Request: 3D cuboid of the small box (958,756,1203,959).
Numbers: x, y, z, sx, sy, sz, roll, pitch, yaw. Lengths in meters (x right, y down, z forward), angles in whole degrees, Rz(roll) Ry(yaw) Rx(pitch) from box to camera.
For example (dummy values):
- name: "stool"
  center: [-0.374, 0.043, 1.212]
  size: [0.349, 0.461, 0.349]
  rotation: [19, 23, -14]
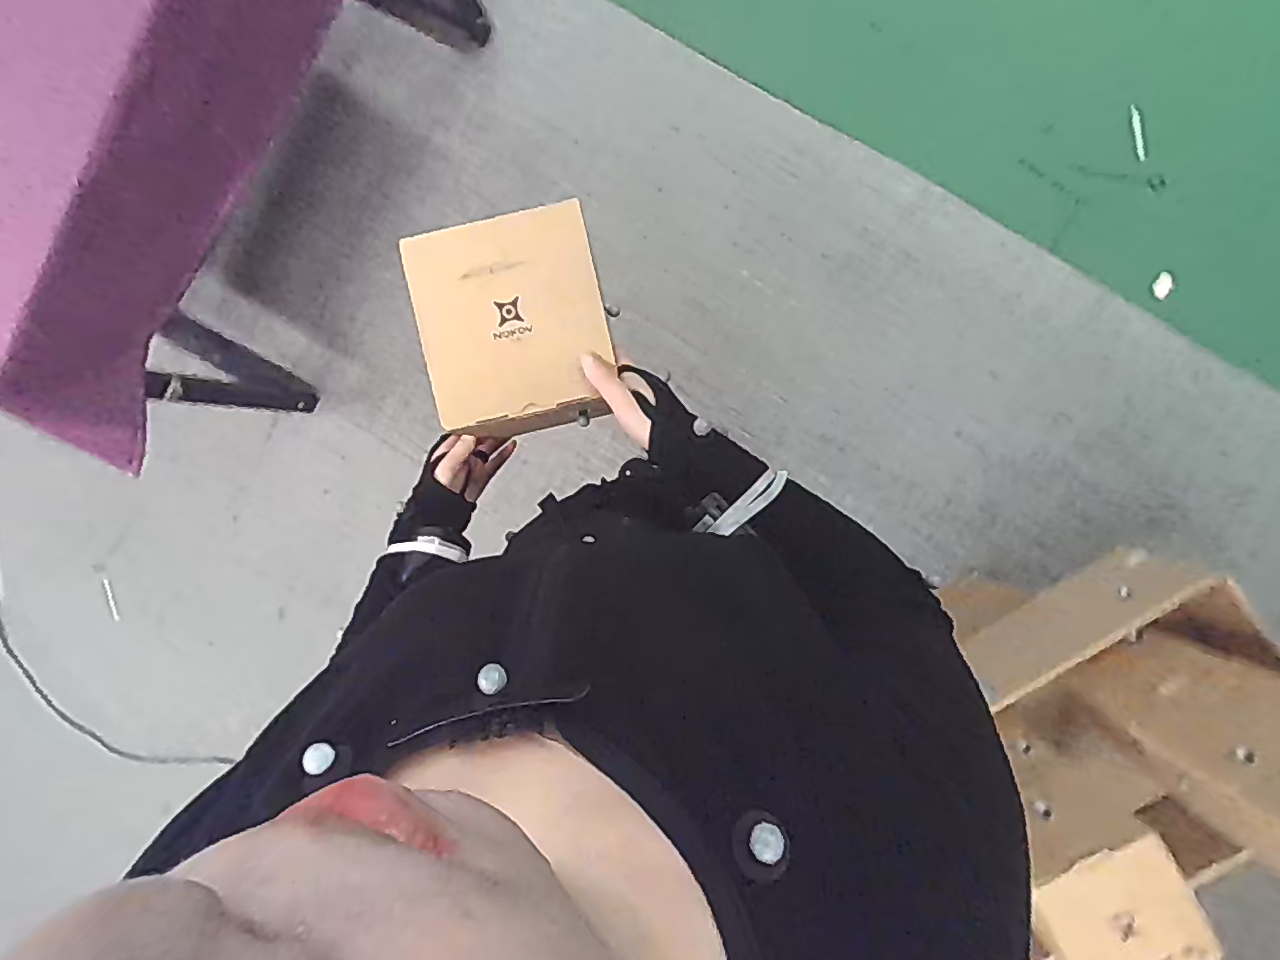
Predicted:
- name: "small box"
  center: [0.588, 0.519, 0.751]
  size: [0.168, 0.176, 0.179]
  rotation: [-29, 90, 6]

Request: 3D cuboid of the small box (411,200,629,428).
- name: "small box"
  center: [-0.107, -0.151, 0.558]
  size: [0.168, 0.176, 0.179]
  rotation: [-11, 92, 0]

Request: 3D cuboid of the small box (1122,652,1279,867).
- name: "small box"
  center: [0.825, 0.364, 0.725]
  size: [0.179, 0.176, 0.168]
  rotation: [-37, 90, 7]
